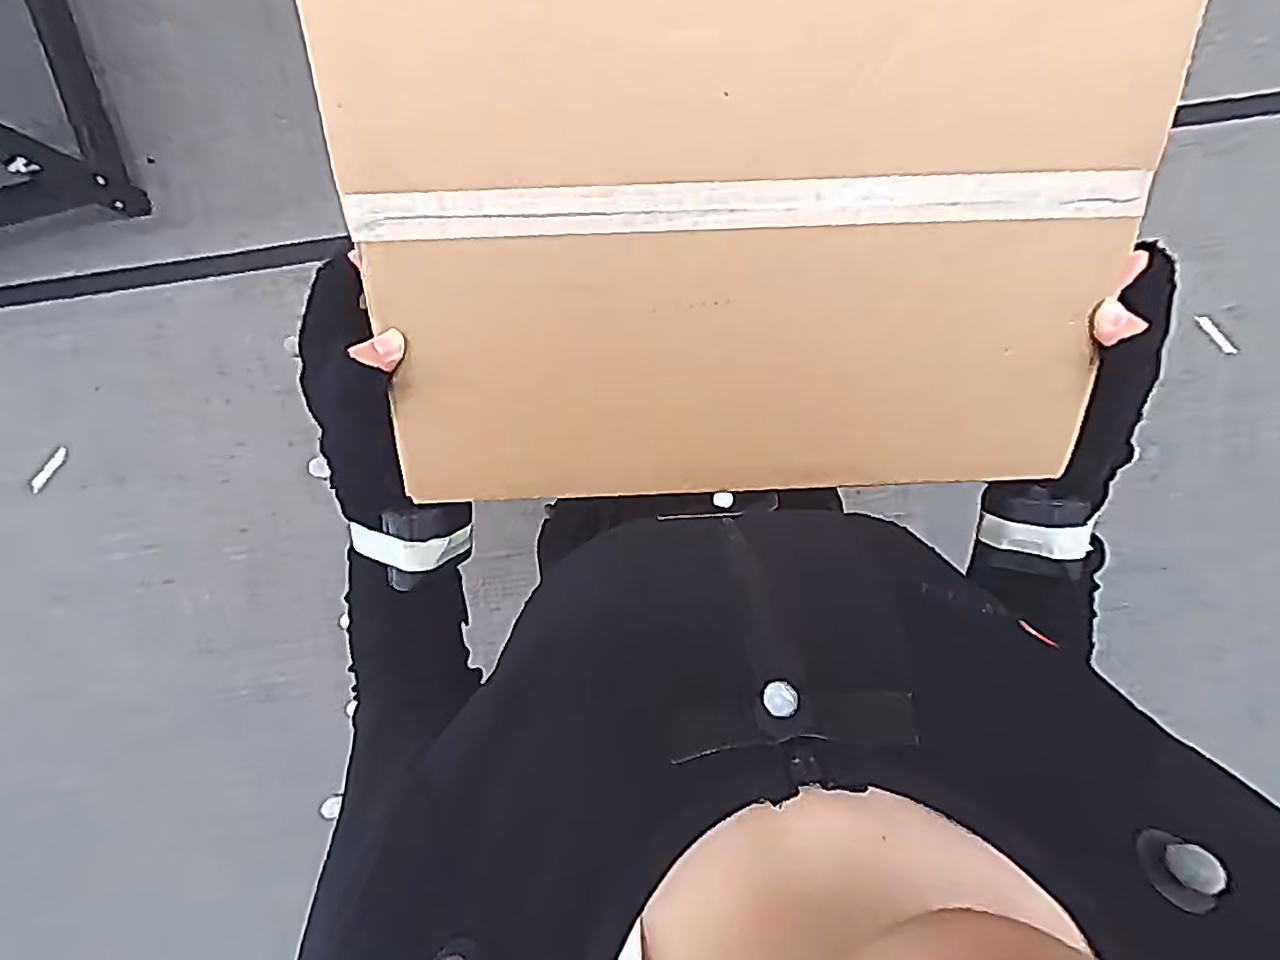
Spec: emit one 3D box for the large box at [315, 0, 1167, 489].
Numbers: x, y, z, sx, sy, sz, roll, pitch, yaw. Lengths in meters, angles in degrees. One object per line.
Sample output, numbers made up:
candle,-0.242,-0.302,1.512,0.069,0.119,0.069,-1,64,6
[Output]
large box,0.045,-0.202,0.420,0.408,0.320,0.320,-2,114,-2
